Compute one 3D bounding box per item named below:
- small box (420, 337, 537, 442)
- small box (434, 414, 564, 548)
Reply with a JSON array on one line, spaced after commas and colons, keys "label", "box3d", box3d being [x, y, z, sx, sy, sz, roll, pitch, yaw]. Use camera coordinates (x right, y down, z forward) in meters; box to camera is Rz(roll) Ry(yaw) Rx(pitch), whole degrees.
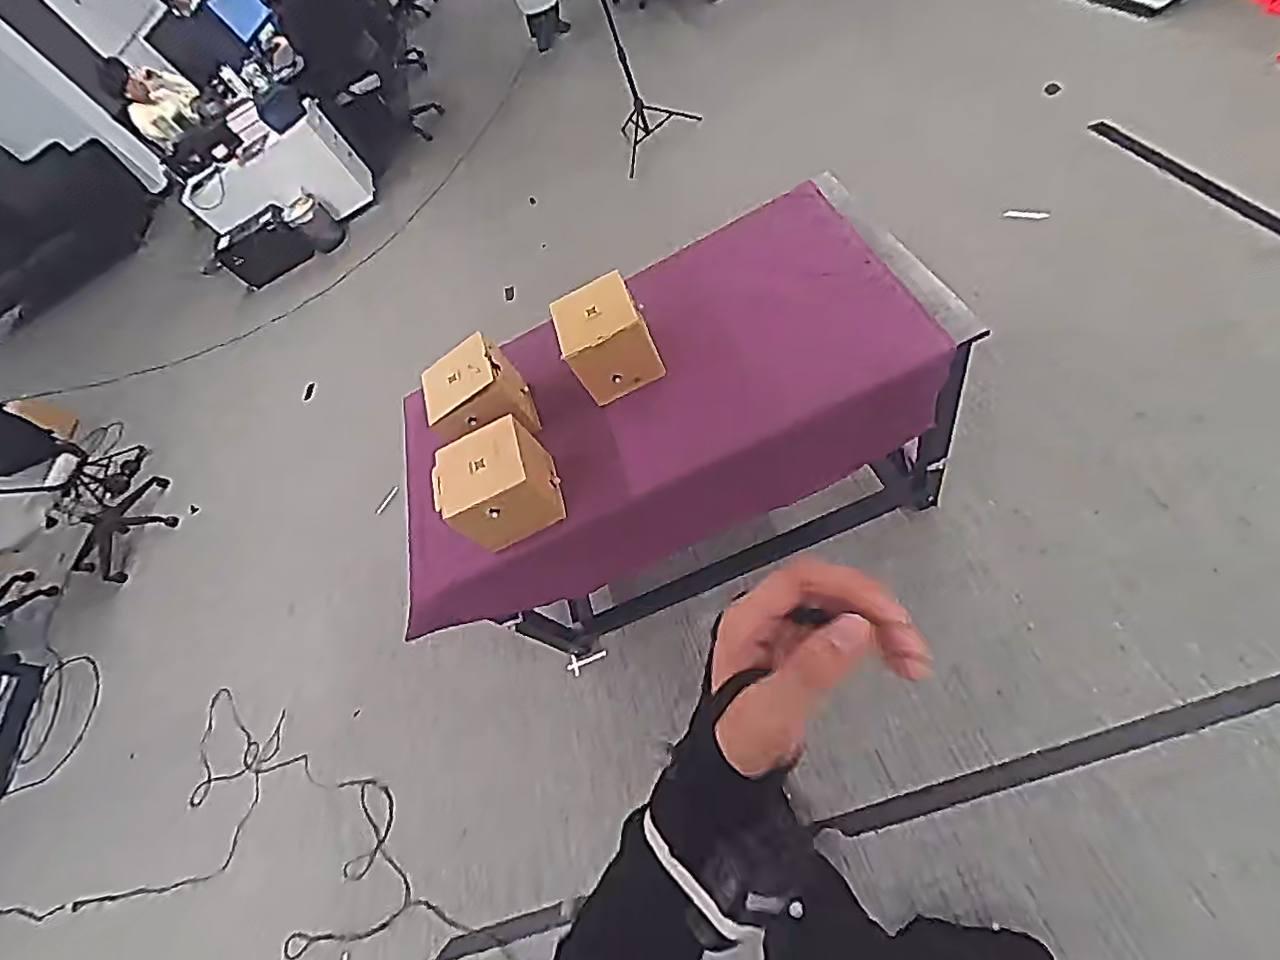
[{"label": "small box", "box3d": [-0.356, -0.173, 1.198, 0.179, 0.176, 0.168, -27, 56, 6]}, {"label": "small box", "box3d": [-0.275, 0.010, 1.062, 0.179, 0.176, 0.168, -25, 56, 8]}]
